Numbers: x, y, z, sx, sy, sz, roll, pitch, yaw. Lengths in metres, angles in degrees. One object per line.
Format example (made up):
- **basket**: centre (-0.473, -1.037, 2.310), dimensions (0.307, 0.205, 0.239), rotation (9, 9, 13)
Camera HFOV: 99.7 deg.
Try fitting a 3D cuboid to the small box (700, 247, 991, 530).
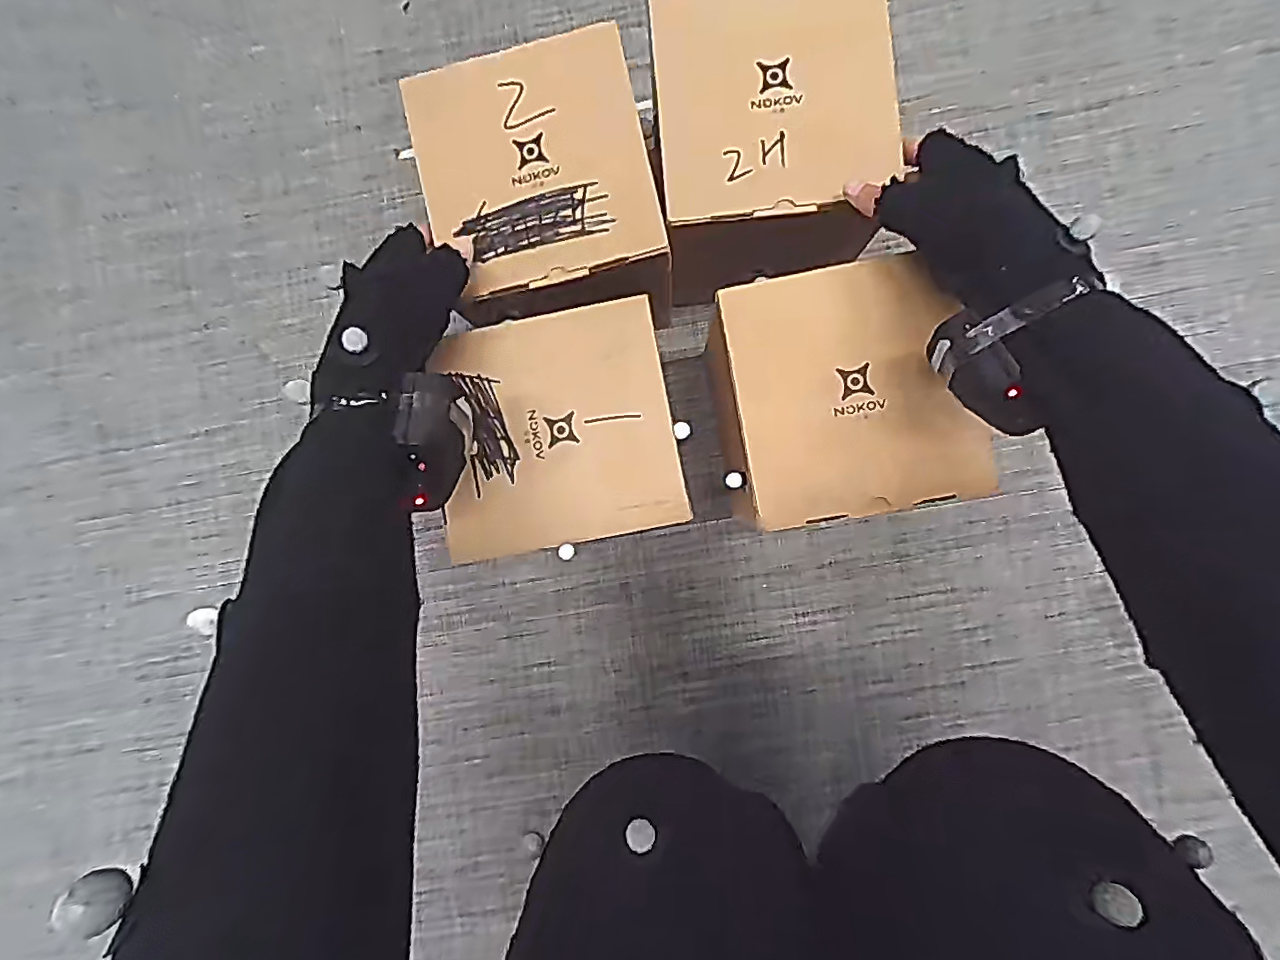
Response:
- **small box**: centre (0.149, -0.061, 0.455), dimensions (0.168, 0.176, 0.179), rotation (-12, 89, 3)
